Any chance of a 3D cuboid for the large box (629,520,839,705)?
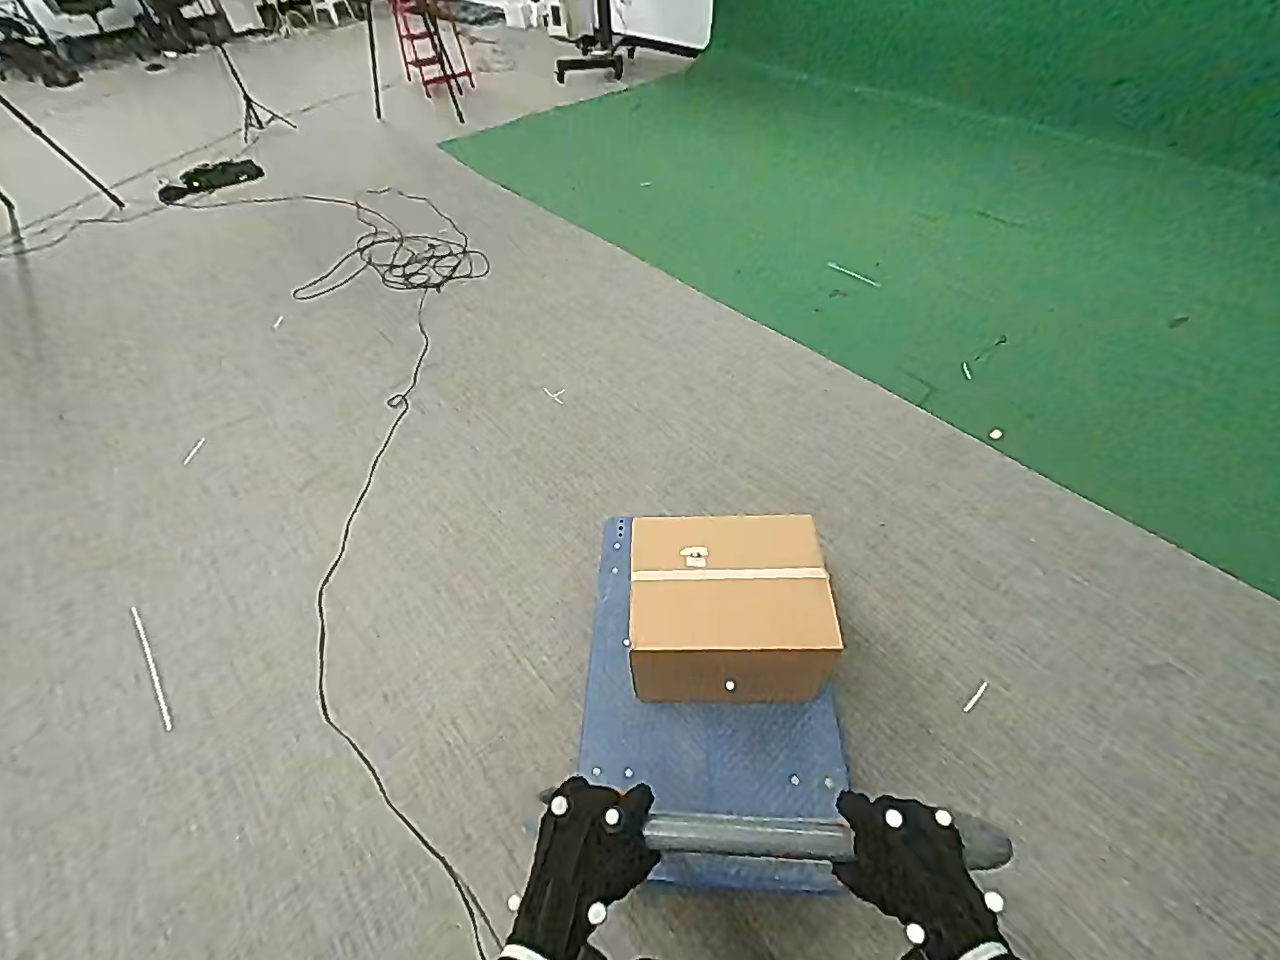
[{"bbox_3d":[0.187,0.310,1.234,0.408,0.320,0.320,-2,49,3],"label":"large box"}]
